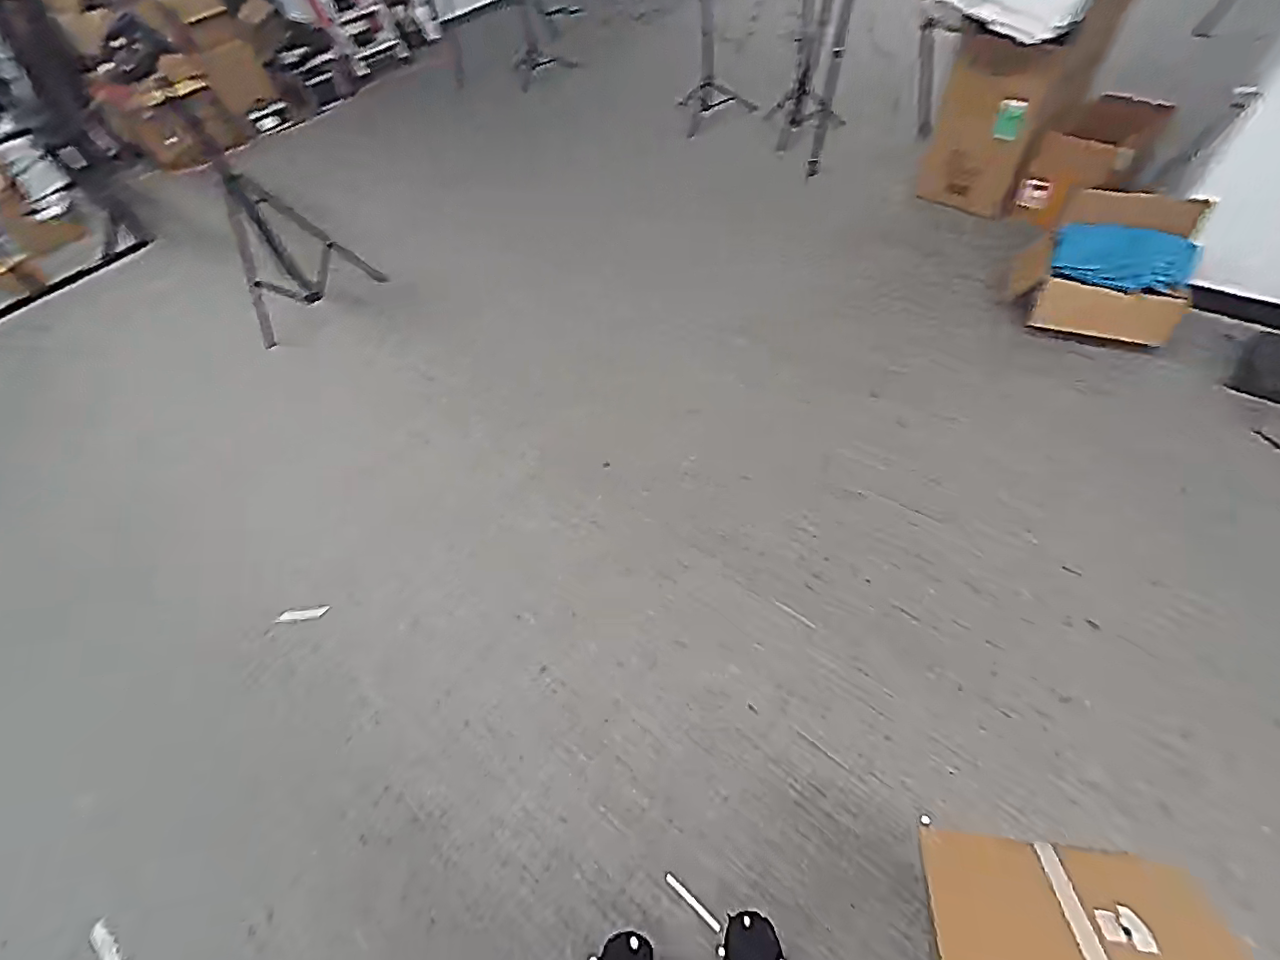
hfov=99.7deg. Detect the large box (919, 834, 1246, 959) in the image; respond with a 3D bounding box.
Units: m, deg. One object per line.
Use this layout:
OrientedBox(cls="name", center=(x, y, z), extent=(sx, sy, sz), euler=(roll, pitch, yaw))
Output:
OrientedBox(cls="large box", center=(0.522, 0.692, 0.599), extent=(0.320, 0.408, 0.320), euler=(-5, 93, 21))
